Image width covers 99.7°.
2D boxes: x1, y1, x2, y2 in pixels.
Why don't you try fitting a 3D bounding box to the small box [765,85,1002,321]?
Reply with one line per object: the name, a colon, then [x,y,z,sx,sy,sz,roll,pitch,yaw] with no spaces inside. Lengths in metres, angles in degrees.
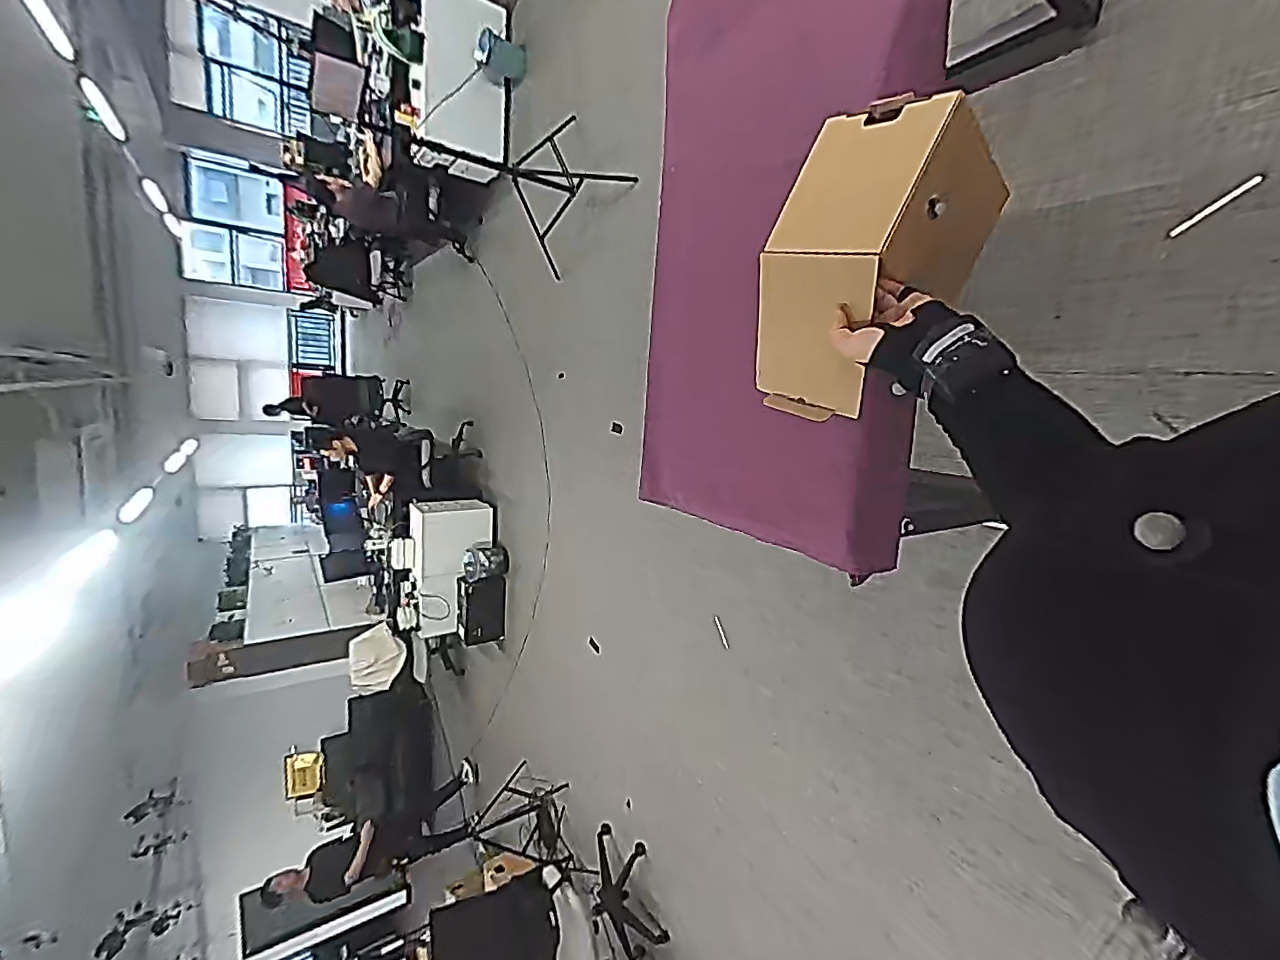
small box: [0.290,-0.310,0.642,0.168,0.176,0.179,33,98,50]
